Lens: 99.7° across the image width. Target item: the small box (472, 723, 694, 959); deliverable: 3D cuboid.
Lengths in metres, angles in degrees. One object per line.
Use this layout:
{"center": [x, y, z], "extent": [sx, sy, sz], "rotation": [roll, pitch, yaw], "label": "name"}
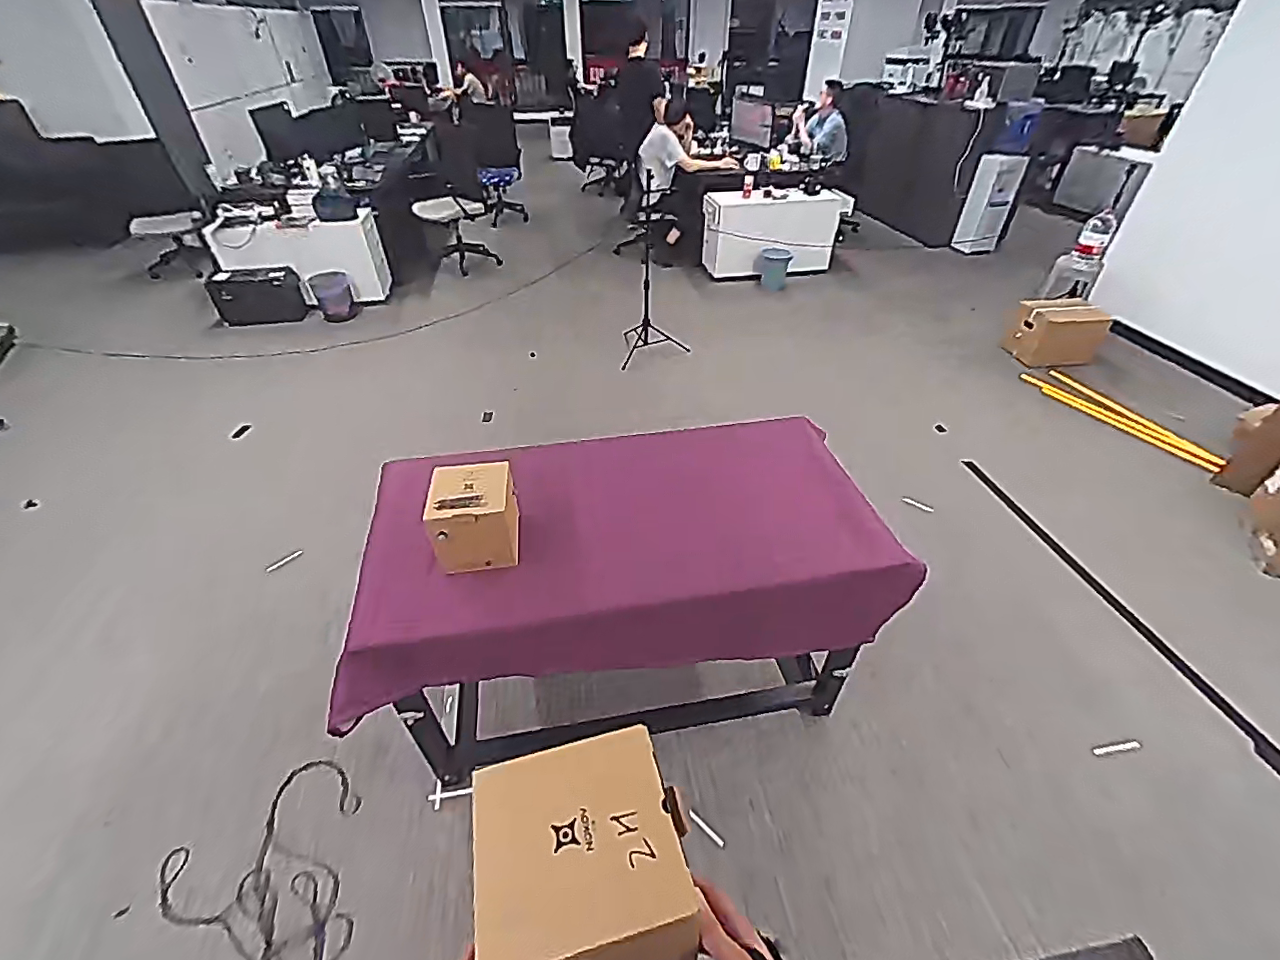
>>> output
{"center": [-0.055, 0.373, 0.519], "extent": [0.179, 0.176, 0.168], "rotation": [-9, 34, -11], "label": "small box"}
